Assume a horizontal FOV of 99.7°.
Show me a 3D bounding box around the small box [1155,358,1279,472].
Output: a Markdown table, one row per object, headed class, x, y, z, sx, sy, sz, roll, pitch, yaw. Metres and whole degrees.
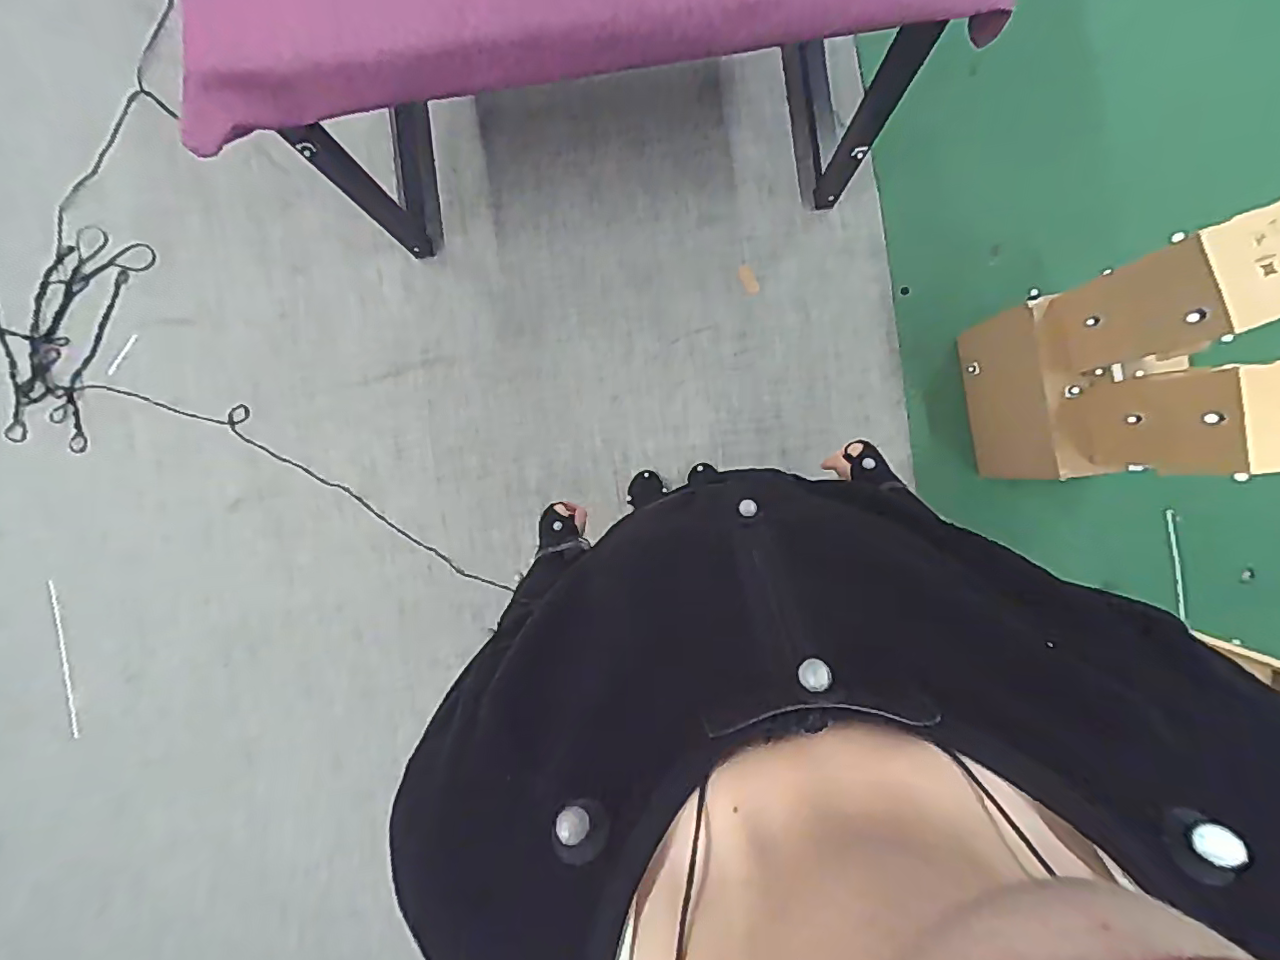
| class | x | y | z | sx | sy | sz | roll | pitch | yaw |
| --- | --- | --- | --- | --- | --- | --- | --- | --- | --- |
| small box | 1.032 | -0.106 | 0.914 | 0.168 | 0.176 | 0.179 | -6 | 88 | 4 |
